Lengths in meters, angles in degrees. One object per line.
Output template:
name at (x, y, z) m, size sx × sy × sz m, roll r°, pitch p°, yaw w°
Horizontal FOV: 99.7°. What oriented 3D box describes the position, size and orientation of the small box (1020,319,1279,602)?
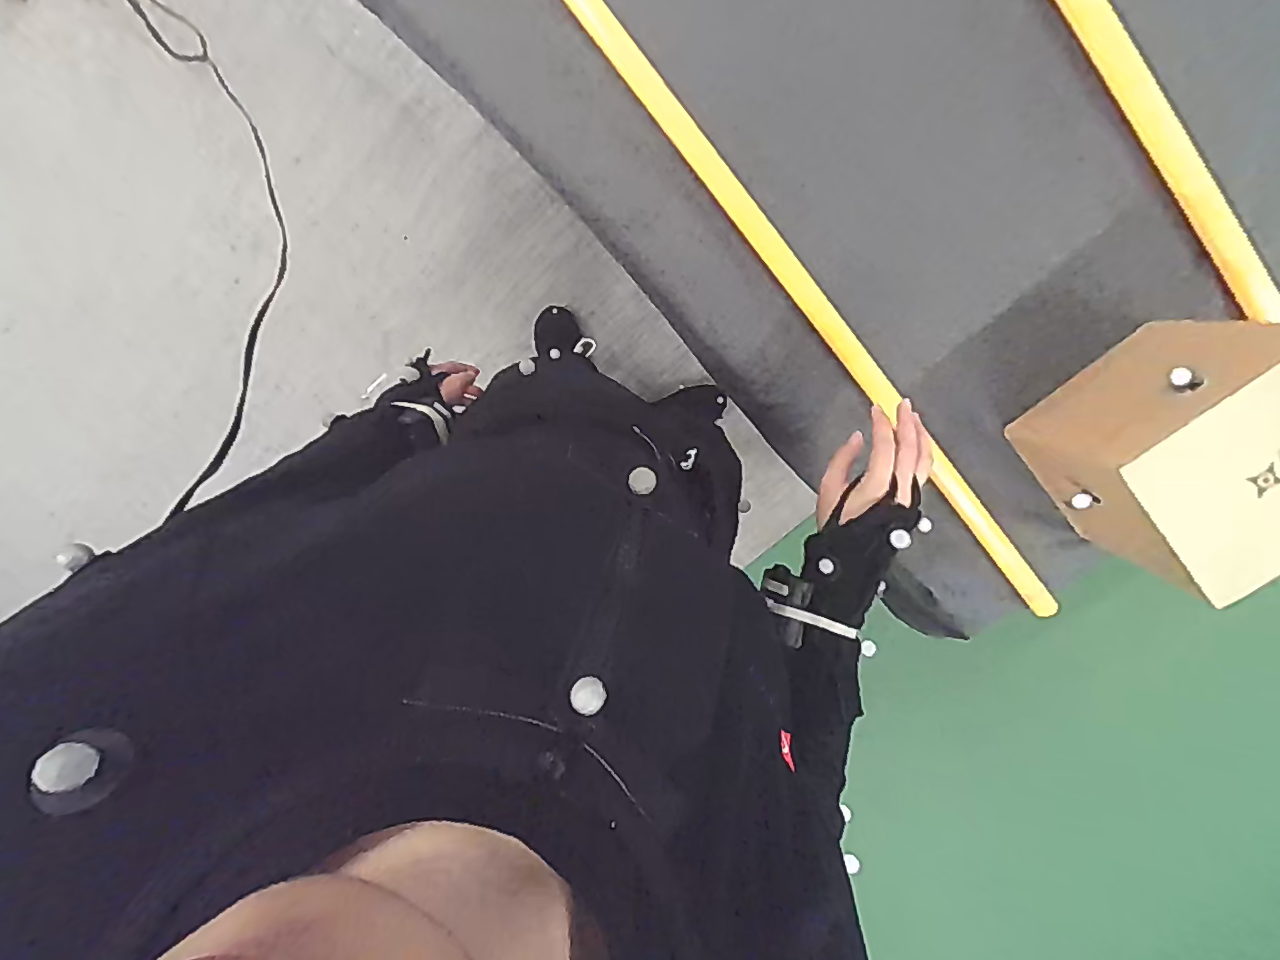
small box at (0.505, -0.027, 0.505) m, size 0.179 × 0.176 × 0.168 m, roll -40°, pitch 99°, yaw 12°
